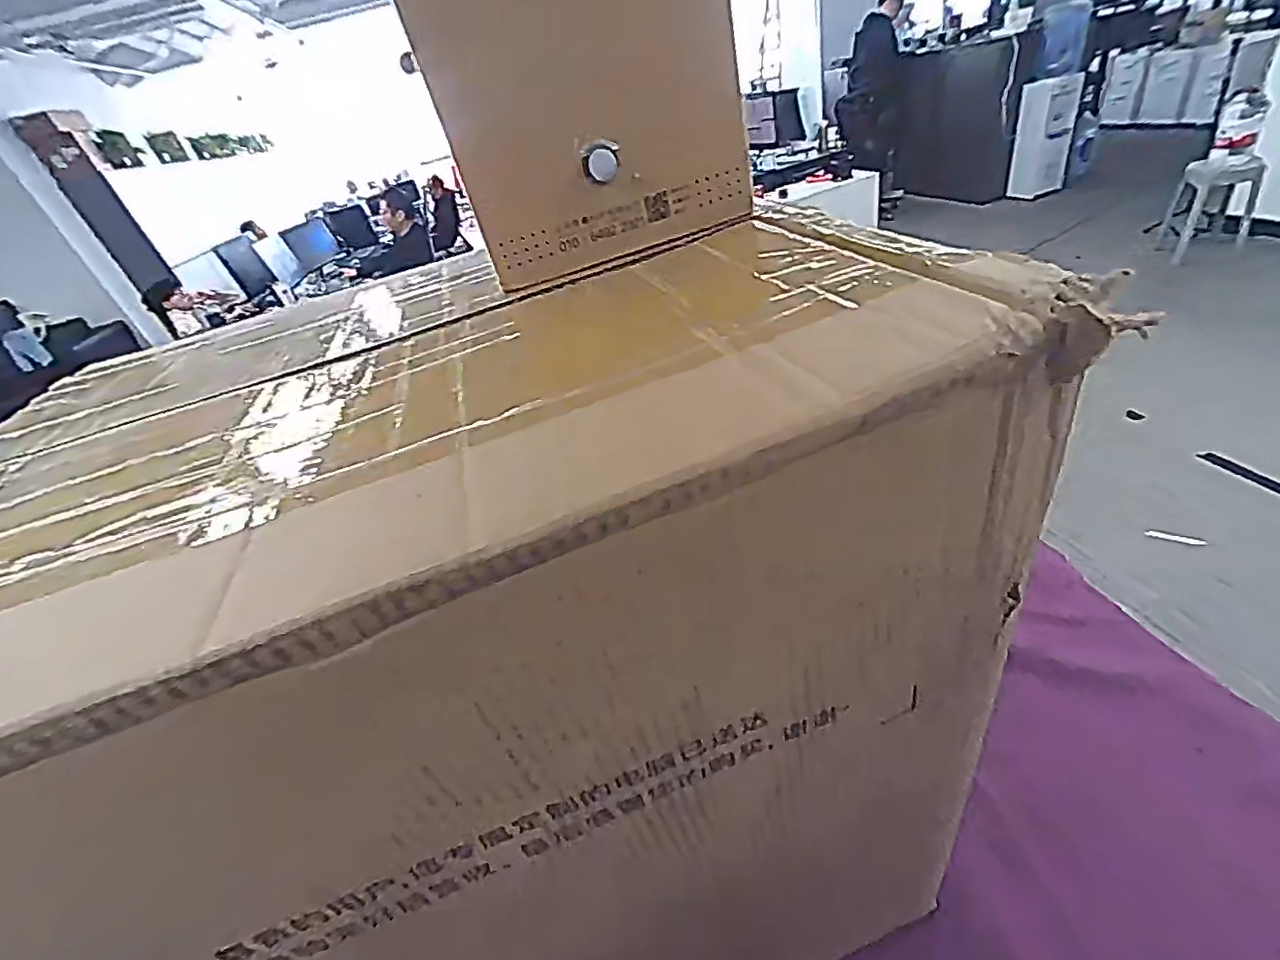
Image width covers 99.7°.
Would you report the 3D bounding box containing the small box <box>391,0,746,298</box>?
[{"bbox_3d":[-0.044,-0.238,0.360,0.168,0.176,0.179,-20,35,-4],"label":"small box"}]
